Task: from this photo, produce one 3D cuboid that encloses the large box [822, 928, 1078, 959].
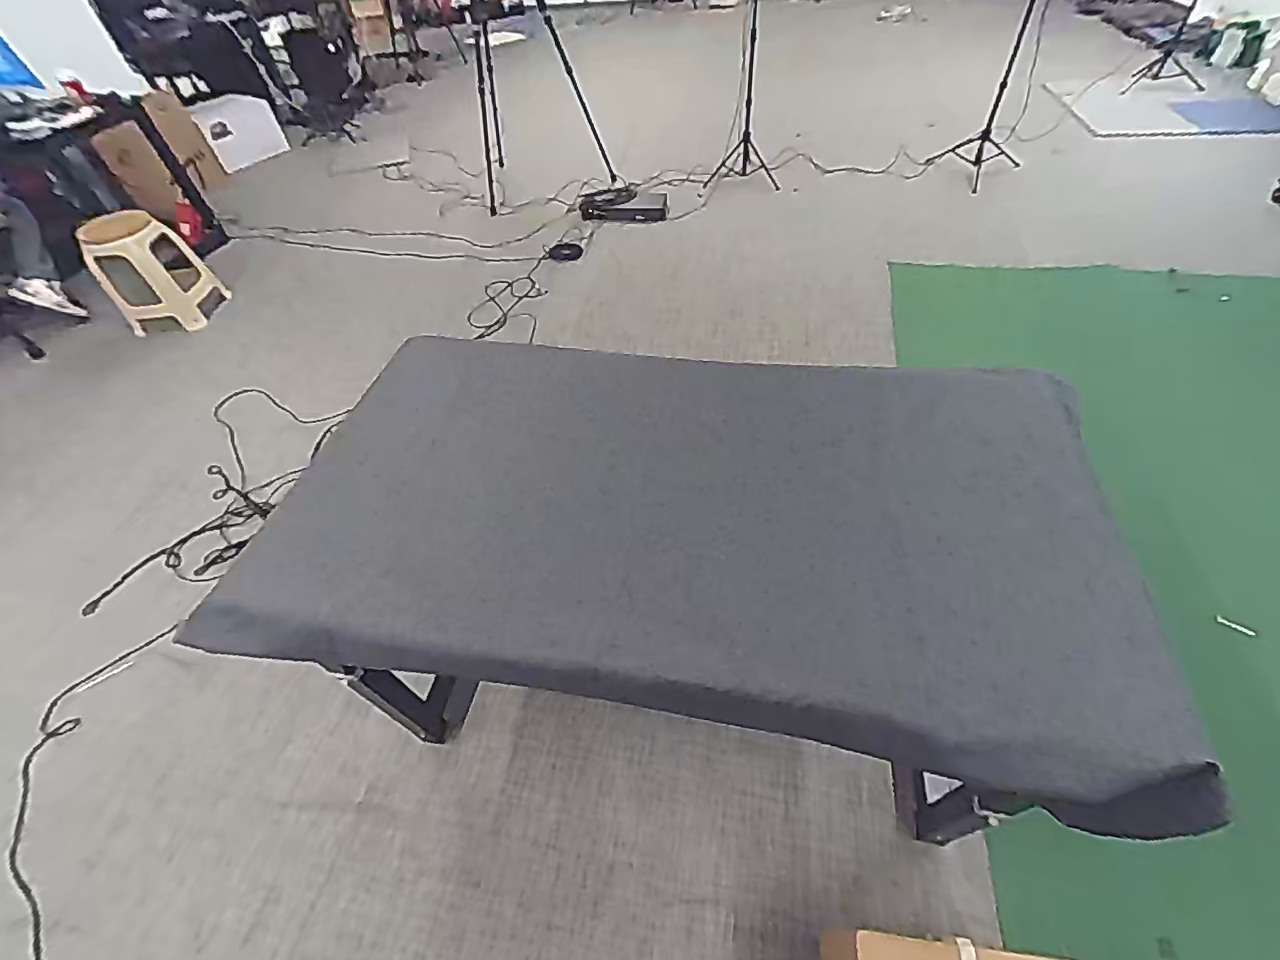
[{"bbox_3d":[0.463,0.914,0.771,0.320,0.320,0.408,2,51,8],"label":"large box"}]
